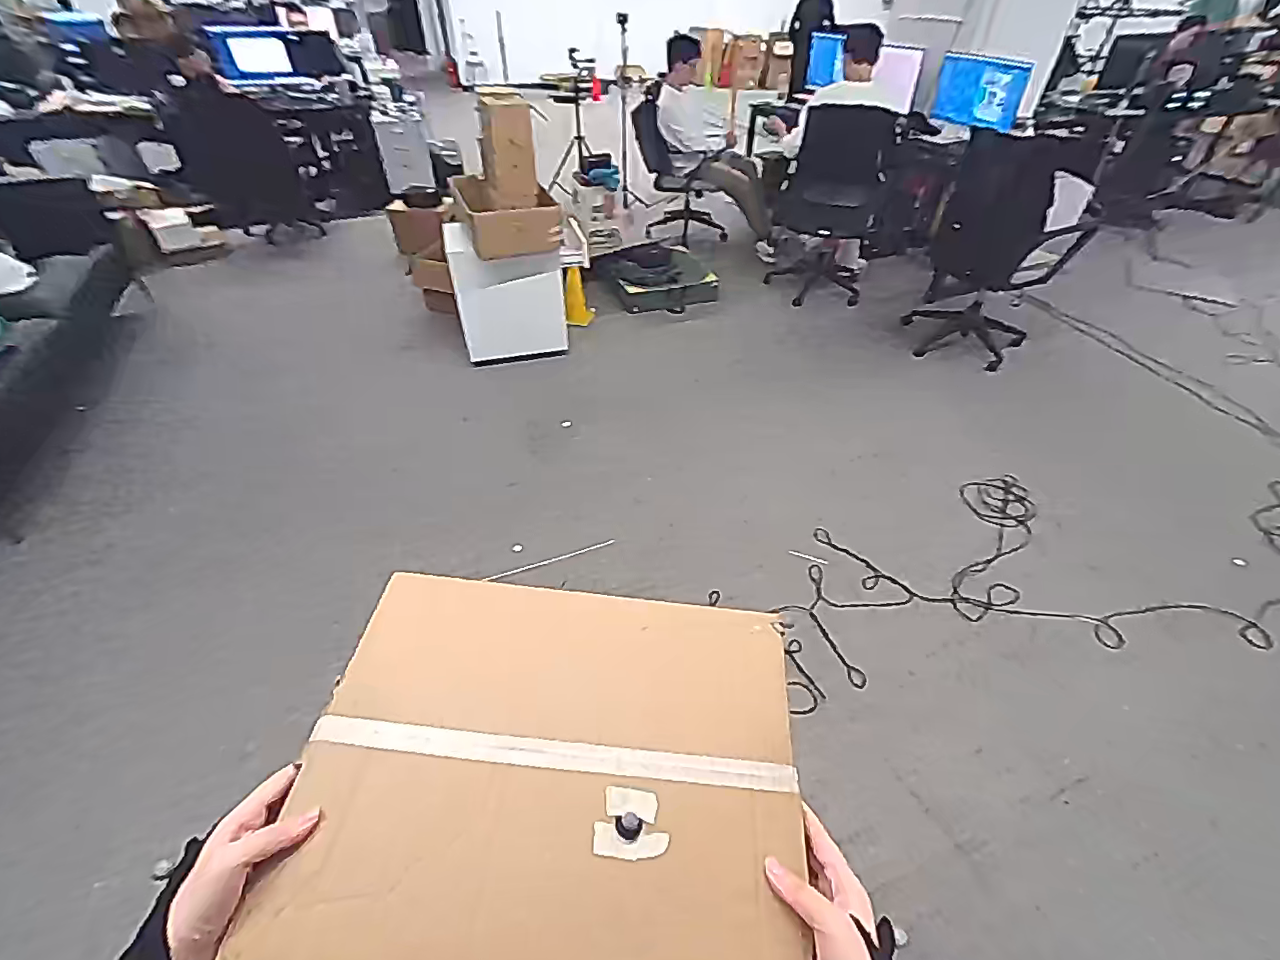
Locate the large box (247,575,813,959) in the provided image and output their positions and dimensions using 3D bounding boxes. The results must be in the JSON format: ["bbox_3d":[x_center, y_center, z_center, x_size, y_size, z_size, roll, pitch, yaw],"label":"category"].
[{"bbox_3d":[-0.076,0.333,0.579,0.408,0.320,0.320,7,48,0],"label":"large box"}]
